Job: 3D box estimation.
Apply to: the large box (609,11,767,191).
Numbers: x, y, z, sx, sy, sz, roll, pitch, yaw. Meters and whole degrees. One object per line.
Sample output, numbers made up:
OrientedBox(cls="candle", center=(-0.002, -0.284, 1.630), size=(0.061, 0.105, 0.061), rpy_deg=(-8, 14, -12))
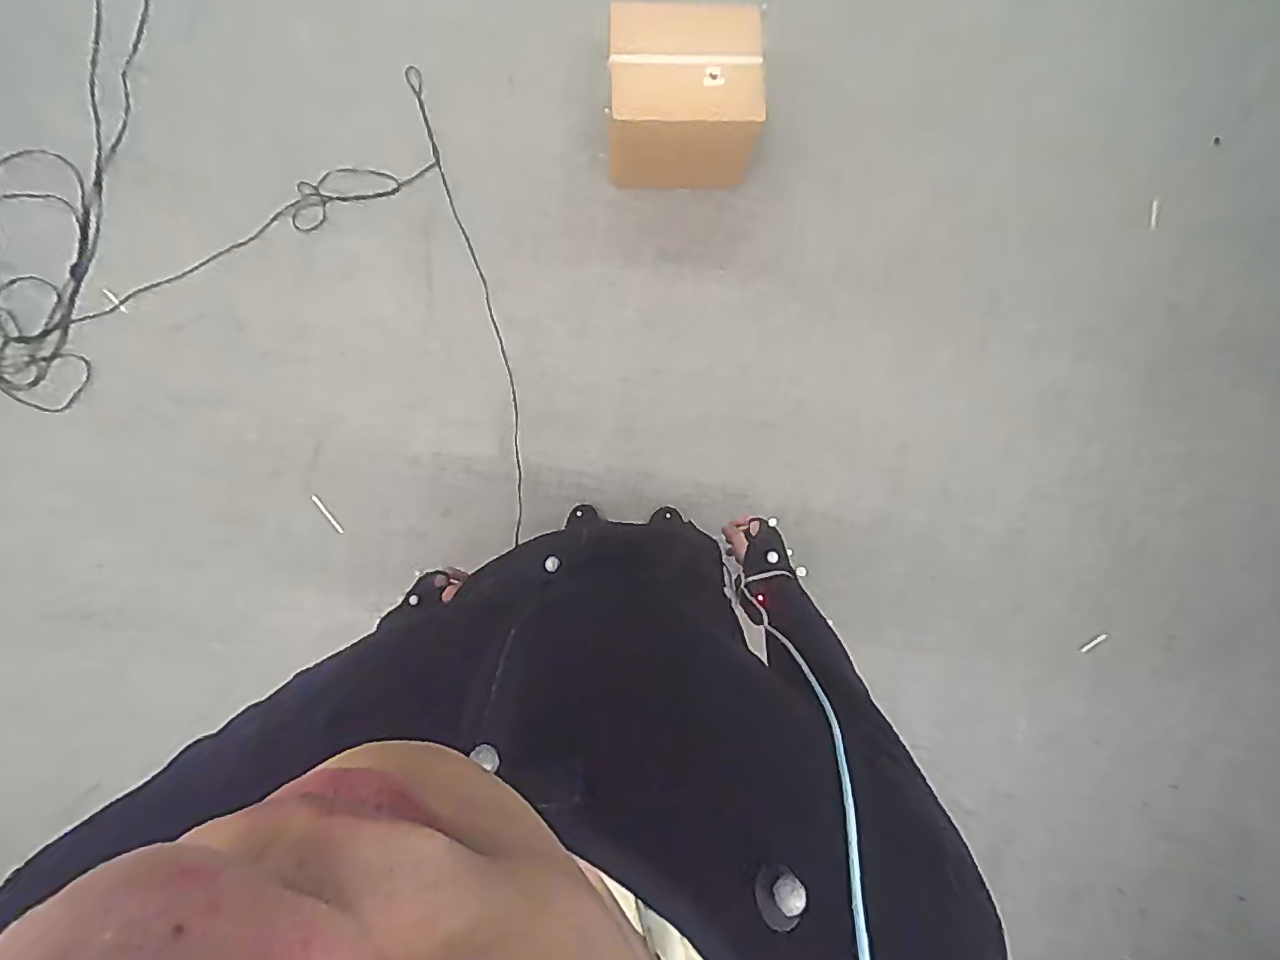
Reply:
OrientedBox(cls="large box", center=(0.119, -1.067, 1.557), size=(0.408, 0.320, 0.320), rpy_deg=(-1, 88, -3))
